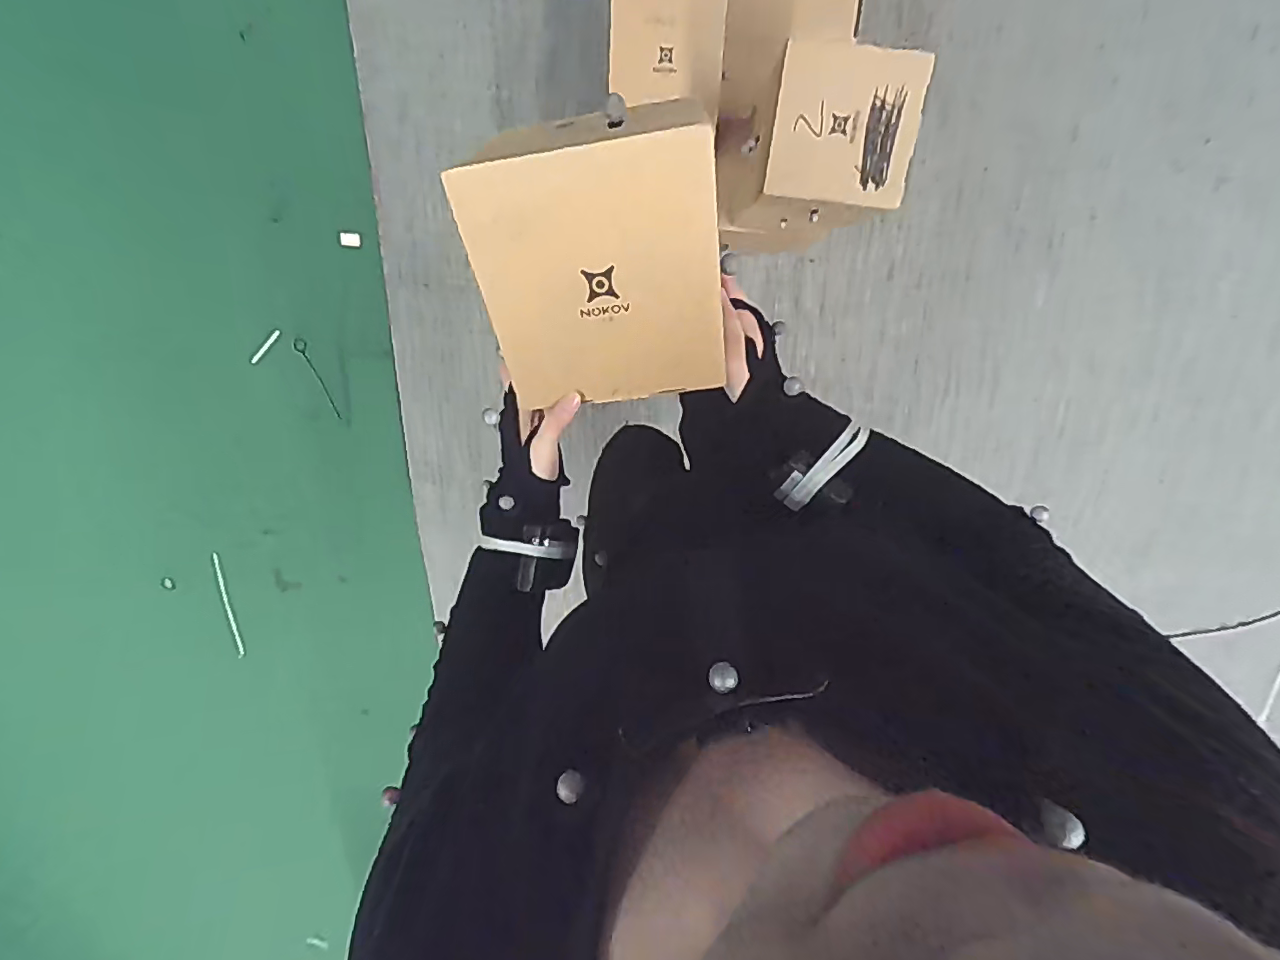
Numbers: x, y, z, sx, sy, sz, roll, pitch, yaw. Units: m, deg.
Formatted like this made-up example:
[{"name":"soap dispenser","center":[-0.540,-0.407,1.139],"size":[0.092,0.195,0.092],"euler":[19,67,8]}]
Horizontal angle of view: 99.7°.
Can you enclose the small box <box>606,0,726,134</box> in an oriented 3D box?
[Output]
[{"name":"small box","center":[0.039,-0.626,0.858],"size":[0.168,0.176,0.179],"euler":[4,106,2]}]

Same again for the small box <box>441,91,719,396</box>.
[{"name":"small box","center":[-0.031,-0.192,0.430],"size":[0.168,0.176,0.179],"euler":[-6,131,5]}]

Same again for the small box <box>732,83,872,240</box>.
[{"name":"small box","center":[0.250,-0.506,0.882],"size":[0.168,0.176,0.179],"euler":[6,107,1]}]
